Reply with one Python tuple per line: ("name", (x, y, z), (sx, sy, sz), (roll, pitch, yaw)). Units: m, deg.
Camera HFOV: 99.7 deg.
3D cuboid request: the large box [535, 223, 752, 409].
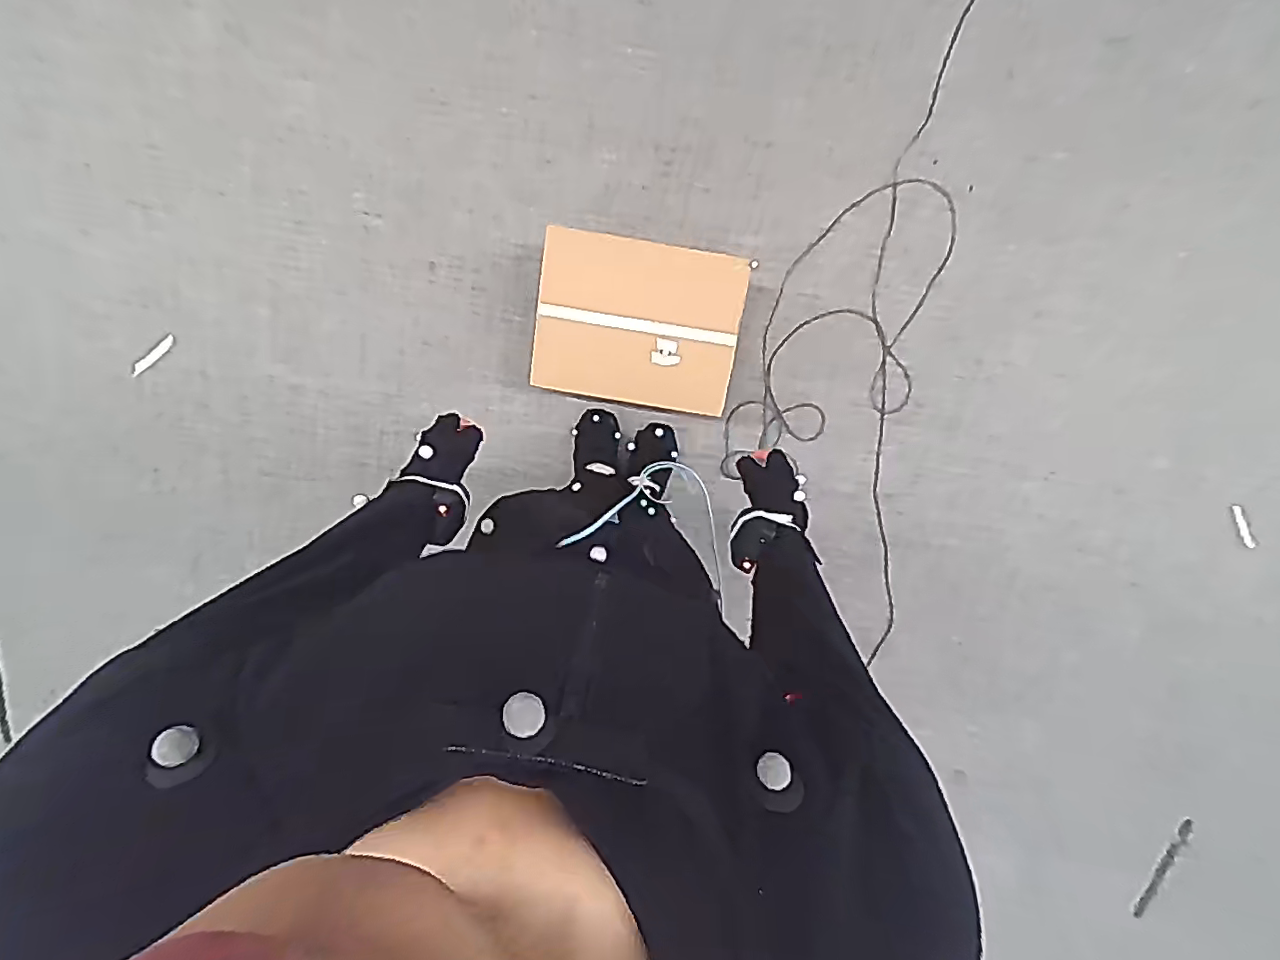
("large box", (0.001, -0.358, 1.228), (0.408, 0.320, 0.320), (10, 105, -1))
